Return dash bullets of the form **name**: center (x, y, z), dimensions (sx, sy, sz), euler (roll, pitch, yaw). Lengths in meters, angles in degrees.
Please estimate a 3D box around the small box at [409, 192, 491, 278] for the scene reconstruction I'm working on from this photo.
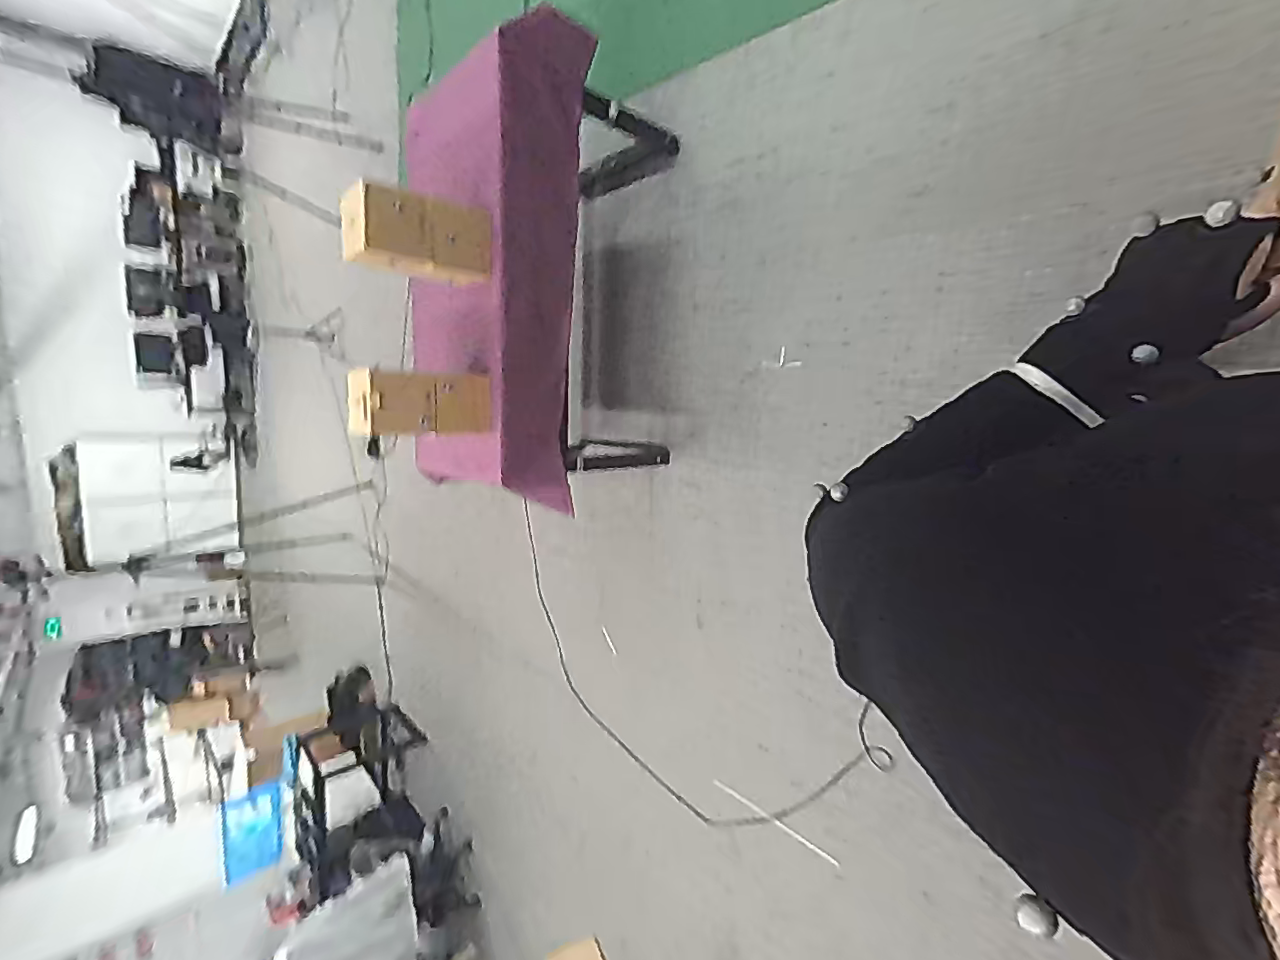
- **small box**: center (-0.526, -0.663, 1.490), dimensions (0.168, 0.176, 0.179), euler (12, 103, 44)

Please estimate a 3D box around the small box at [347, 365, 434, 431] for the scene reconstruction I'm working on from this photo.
- **small box**: center (-0.663, -0.218, 1.442), dimensions (0.179, 0.176, 0.168), euler (10, 100, 46)

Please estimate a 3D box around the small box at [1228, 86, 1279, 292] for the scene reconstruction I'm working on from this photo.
- **small box**: center (0.521, -0.217, 0.346), dimensions (0.168, 0.176, 0.179), euler (14, 108, 40)

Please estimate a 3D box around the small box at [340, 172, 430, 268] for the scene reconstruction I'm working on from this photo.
- **small box**: center (-0.646, -0.653, 1.380), dimensions (0.179, 0.176, 0.168), euler (9, 100, 45)

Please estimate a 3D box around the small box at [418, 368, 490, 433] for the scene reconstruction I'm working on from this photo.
- **small box**: center (-0.544, -0.227, 1.555), dimensions (0.168, 0.176, 0.179), euler (9, 100, 45)
